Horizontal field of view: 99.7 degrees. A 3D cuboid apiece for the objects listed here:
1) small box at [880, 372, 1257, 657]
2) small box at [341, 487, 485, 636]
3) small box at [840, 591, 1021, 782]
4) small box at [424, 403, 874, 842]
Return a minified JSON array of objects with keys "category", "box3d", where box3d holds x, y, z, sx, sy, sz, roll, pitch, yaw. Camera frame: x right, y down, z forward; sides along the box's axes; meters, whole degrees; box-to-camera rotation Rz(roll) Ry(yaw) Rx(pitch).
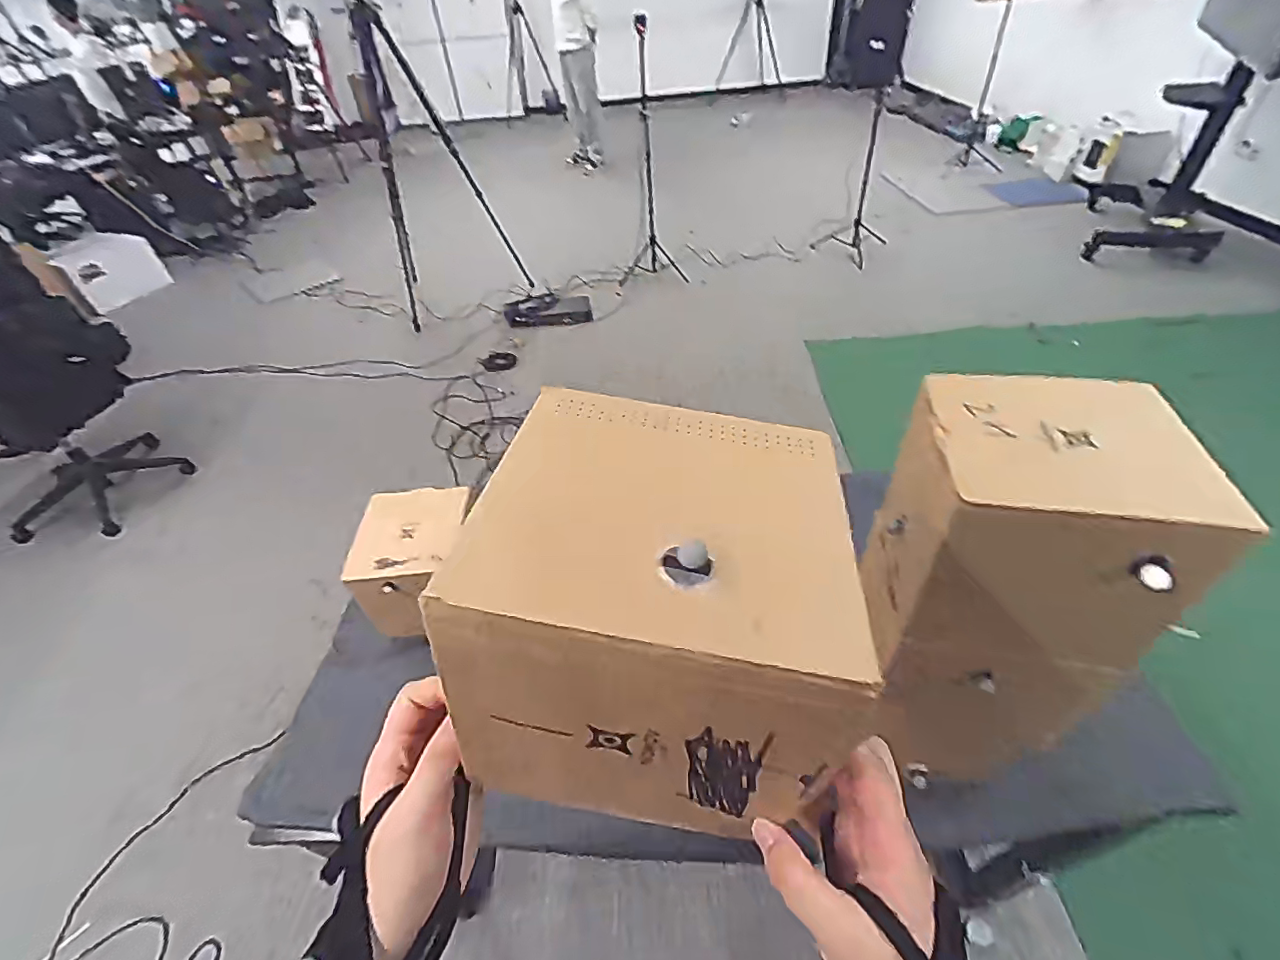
[{"category":"small box","box3d":[0.318,0.028,0.456,0.179,0.176,0.168,5,43,13]},{"category":"small box","box3d":[-0.352,0.134,0.895,0.168,0.176,0.179,-5,44,0]},{"category":"small box","box3d":[0.342,0.259,0.687,0.168,0.176,0.179,-3,43,4]},{"category":"small box","box3d":[0.008,0.073,0.313,0.179,0.168,0.176,10,39,5]}]
